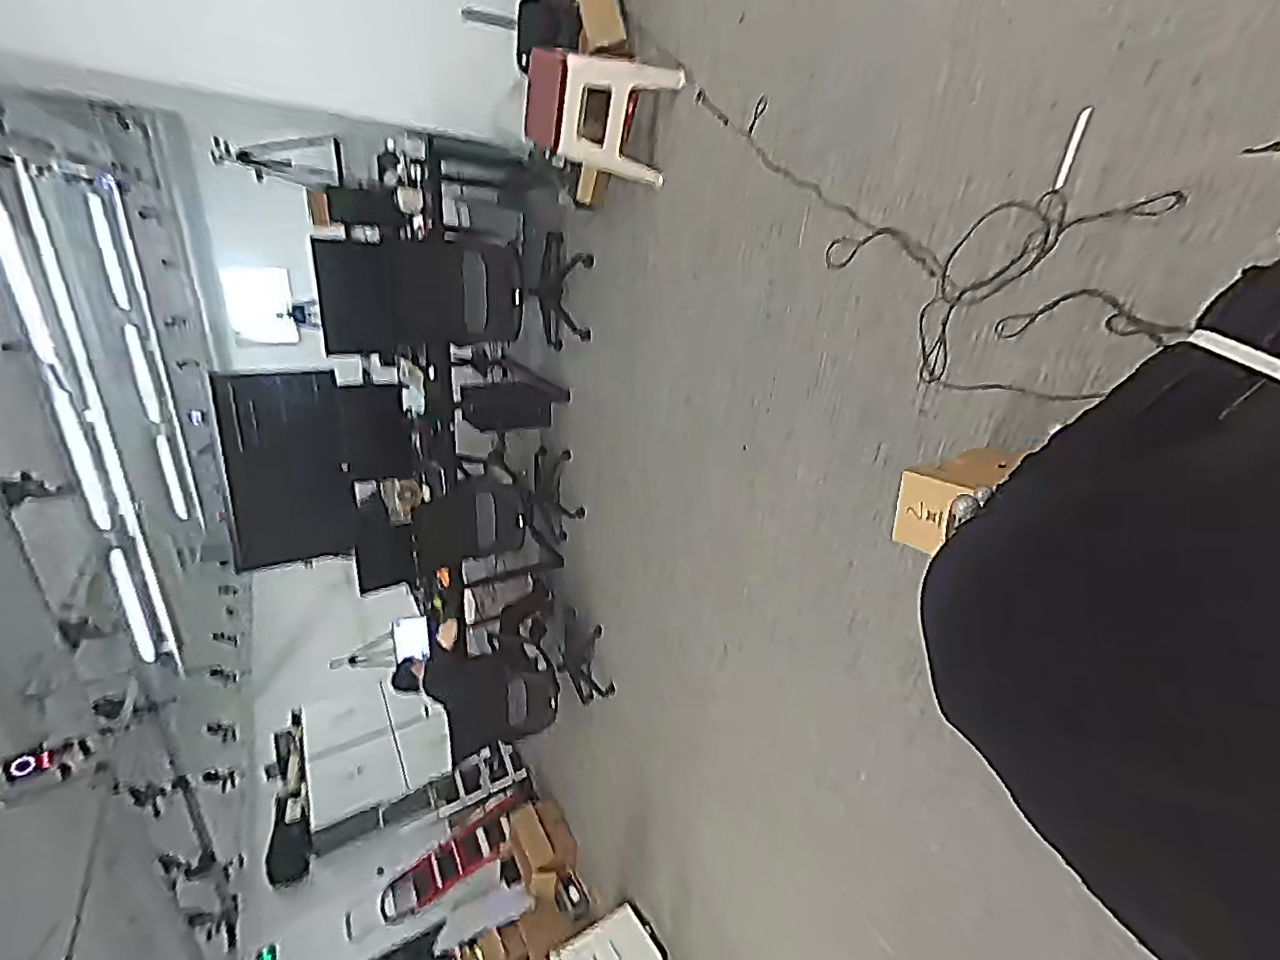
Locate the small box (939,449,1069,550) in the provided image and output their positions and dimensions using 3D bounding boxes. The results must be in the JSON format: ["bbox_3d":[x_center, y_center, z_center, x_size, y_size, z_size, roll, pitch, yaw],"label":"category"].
[{"bbox_3d":[0.833,0.034,1.238,0.179,0.176,0.168,33,127,51],"label":"small box"}]
